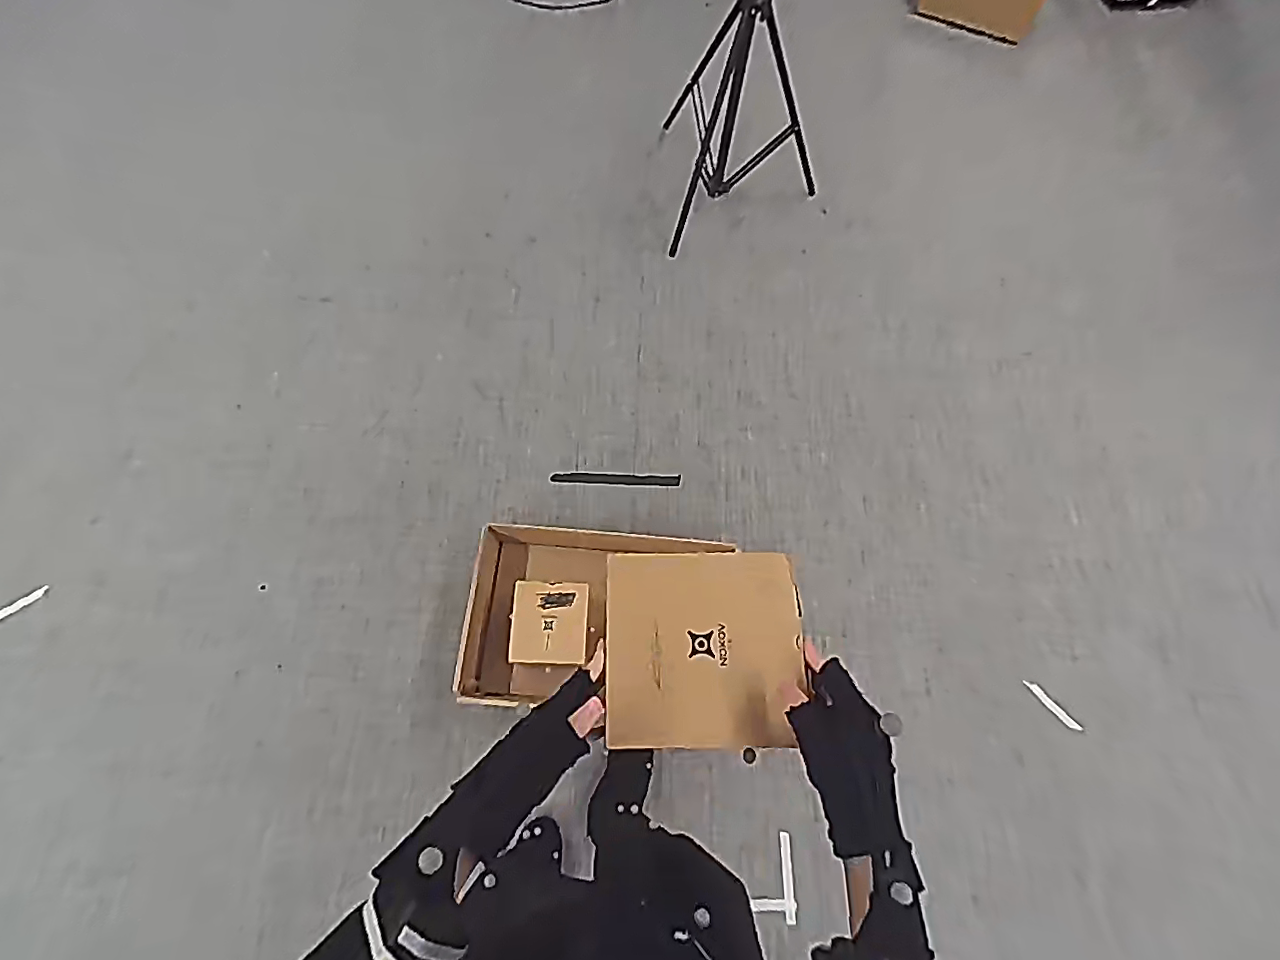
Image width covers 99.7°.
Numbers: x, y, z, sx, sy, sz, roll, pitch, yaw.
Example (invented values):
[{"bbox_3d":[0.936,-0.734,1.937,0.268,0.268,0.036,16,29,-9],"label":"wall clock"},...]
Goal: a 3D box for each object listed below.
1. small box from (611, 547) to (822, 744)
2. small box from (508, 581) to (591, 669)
[{"bbox_3d":[0.062,0.169,0.542,0.179,0.176,0.168,-1,66,0],"label":"small box"},{"bbox_3d":[-0.201,0.340,1.254,0.168,0.176,0.179,2,69,-2],"label":"small box"}]
